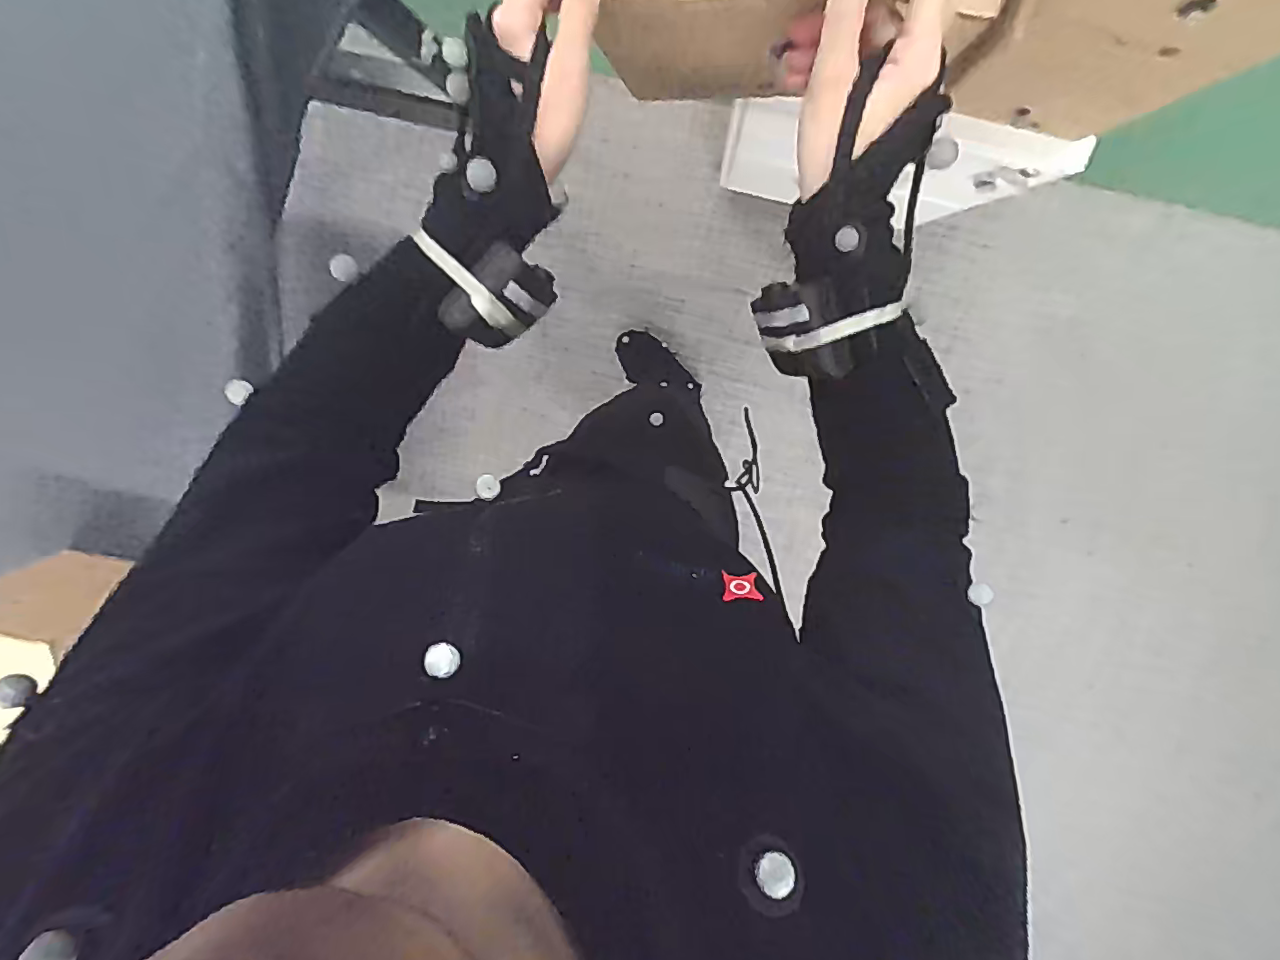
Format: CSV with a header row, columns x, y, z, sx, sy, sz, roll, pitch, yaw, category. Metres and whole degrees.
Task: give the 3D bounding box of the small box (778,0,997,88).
x,y,z,sx,sy,sz,roll,pitch,yaw,category
0.234,-0.495,0.488,0.168,0.176,0.179,14,108,0,small box
